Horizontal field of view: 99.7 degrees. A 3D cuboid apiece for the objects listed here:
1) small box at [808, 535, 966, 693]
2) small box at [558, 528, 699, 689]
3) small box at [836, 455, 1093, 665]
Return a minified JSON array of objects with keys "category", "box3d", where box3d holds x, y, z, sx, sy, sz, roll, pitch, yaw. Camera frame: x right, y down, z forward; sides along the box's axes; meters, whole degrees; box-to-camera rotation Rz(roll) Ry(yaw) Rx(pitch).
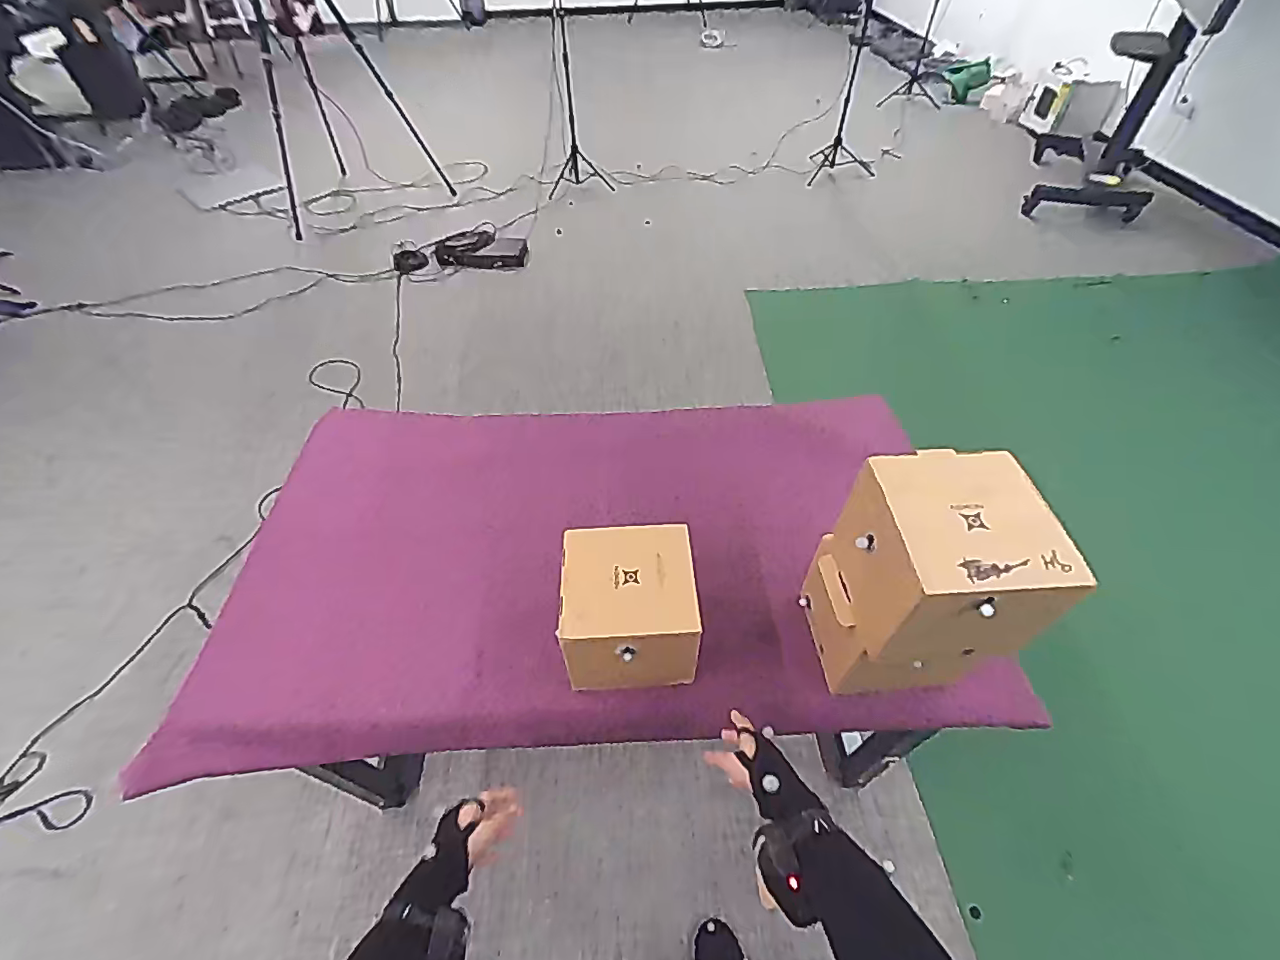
[{"category":"small box","box3d":[0.346,0.185,0.755,0.179,0.176,0.168,-4,50,-2]},{"category":"small box","box3d":[-0.013,0.185,0.766,0.179,0.176,0.168,-2,49,-1]},{"category":"small box","box3d":[0.341,0.092,0.619,0.168,0.176,0.179,-3,49,0]}]
